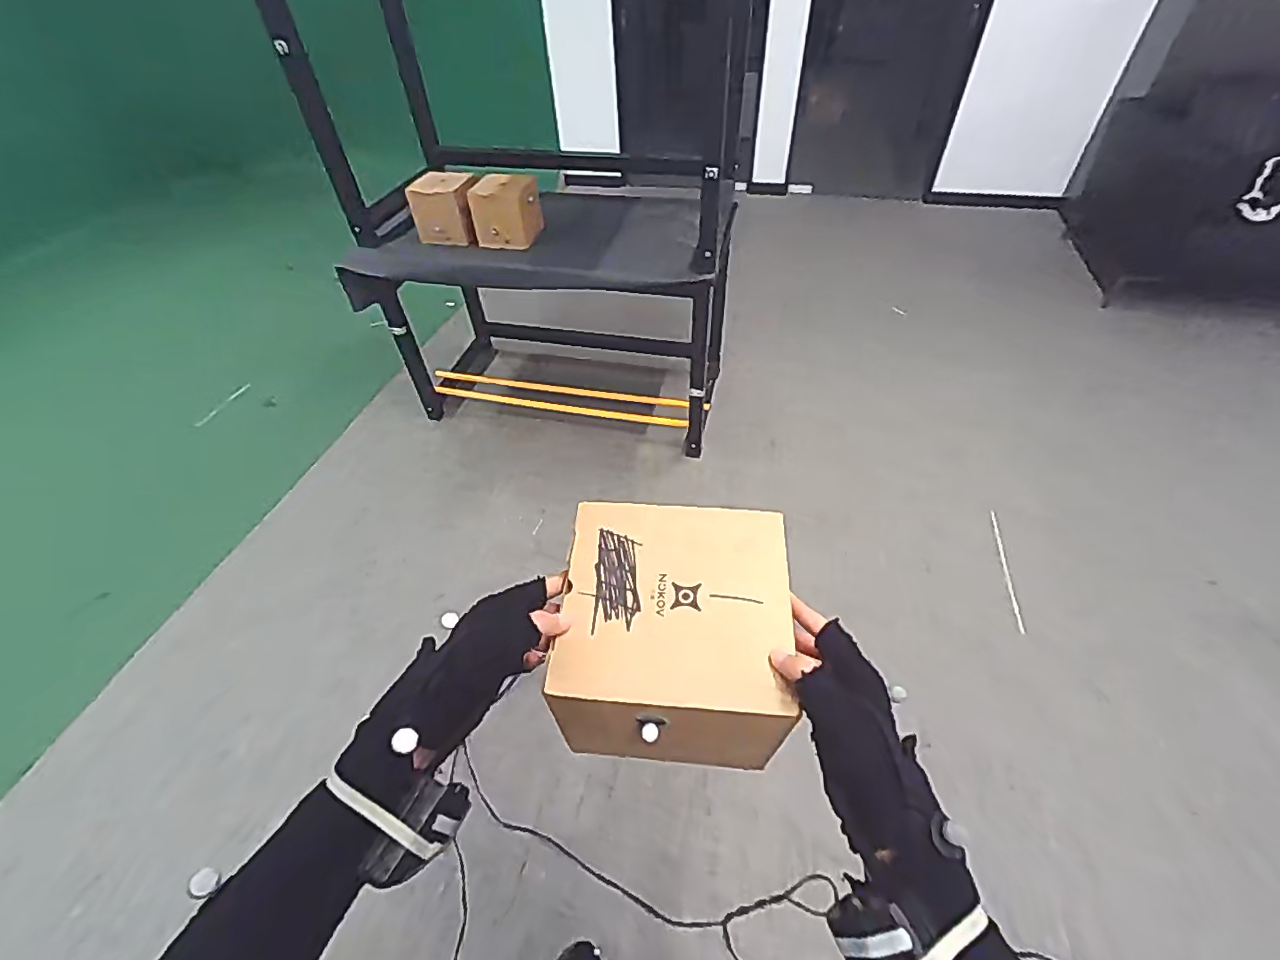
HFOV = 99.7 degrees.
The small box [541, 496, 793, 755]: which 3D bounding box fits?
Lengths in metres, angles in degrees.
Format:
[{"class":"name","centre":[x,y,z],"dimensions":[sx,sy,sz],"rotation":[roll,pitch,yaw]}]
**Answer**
[{"class":"small box","centre":[0.026,0.132,0.477],"dimensions":[0.179,0.176,0.168],"rotation":[3,51,4]}]

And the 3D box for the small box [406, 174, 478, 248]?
[{"class":"small box","centre":[-0.634,-0.890,1.786],"dimensions":[0.168,0.176,0.179],"rotation":[7,47,9]}]

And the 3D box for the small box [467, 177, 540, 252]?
[{"class":"small box","centre":[-0.433,-0.864,1.758],"dimensions":[0.168,0.176,0.179],"rotation":[7,47,10]}]
